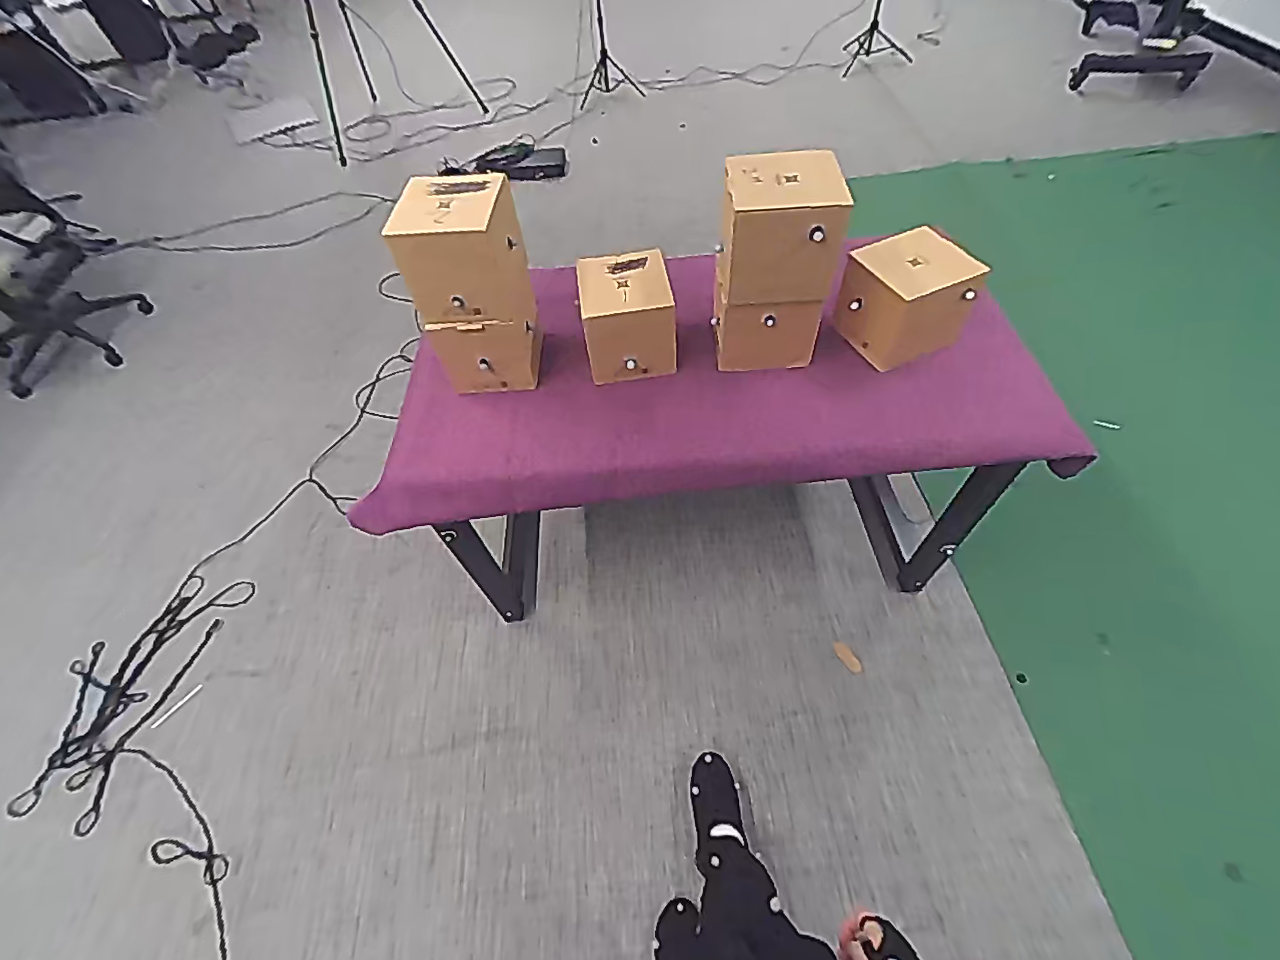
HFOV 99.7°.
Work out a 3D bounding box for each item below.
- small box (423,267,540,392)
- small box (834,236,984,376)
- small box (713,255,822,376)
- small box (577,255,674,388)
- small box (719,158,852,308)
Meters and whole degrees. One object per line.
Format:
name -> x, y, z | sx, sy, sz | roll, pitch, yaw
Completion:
small box -> -0.295, -0.285, 1.050 | 0.168, 0.176, 0.179 | -3, 55, 2
small box -> 0.490, -0.325, 1.023 | 0.179, 0.176, 0.168 | -21, 55, -10
small box -> 0.232, -0.315, 1.034 | 0.179, 0.176, 0.168 | -1, 55, 3
small box -> -0.027, -0.304, 1.044 | 0.168, 0.176, 0.179 | -8, 55, -1
small box -> 0.227, -0.403, 0.896 | 0.179, 0.176, 0.168 | -1, 54, 4
